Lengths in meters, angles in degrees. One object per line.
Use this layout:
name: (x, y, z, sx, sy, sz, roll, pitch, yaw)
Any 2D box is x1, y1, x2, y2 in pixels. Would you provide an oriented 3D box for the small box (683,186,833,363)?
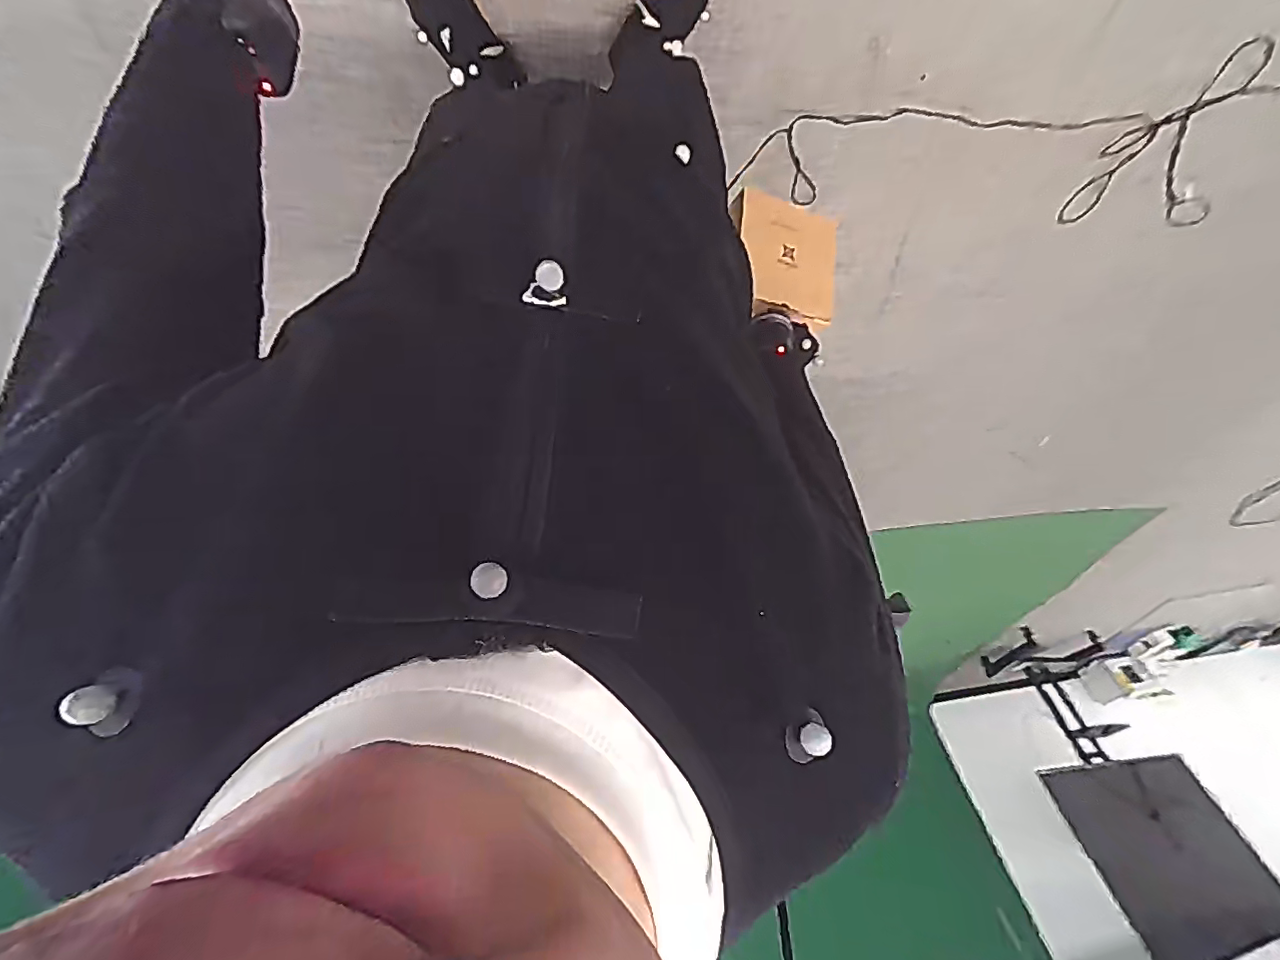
small box: (0.178, -0.307, 0.849, 0.168, 0.179, 0.176, 13, 164, -19)
